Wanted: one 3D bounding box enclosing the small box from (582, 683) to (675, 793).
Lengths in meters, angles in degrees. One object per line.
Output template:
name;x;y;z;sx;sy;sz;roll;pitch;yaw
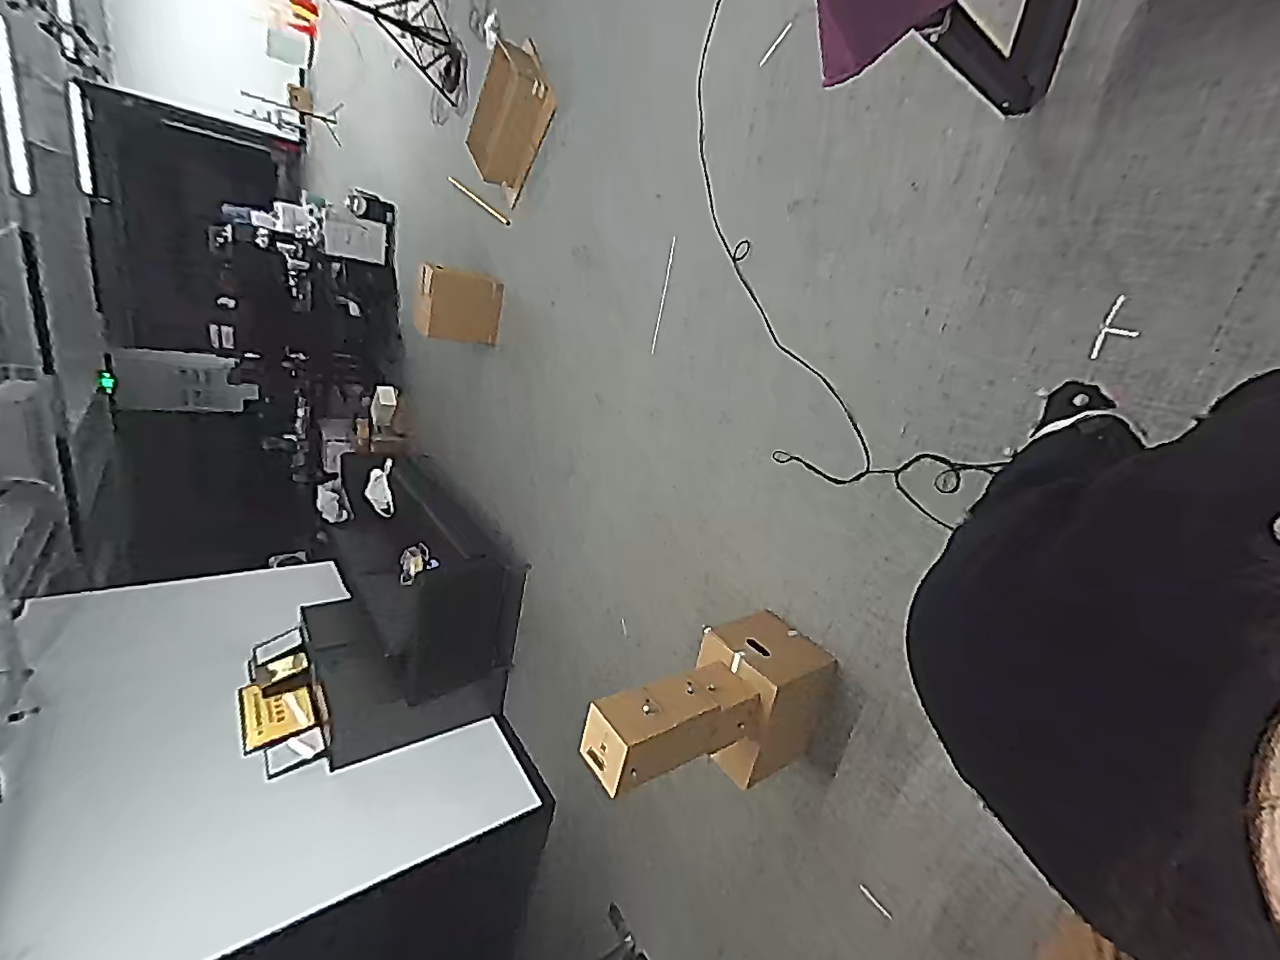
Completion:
small box;-0.029;0.679;1.441;0.168;0.176;0.179;33;117;44

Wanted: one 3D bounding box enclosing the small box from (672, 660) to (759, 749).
small box;0.229;0.672;1.647;0.179;0.176;0.168;29;115;45
